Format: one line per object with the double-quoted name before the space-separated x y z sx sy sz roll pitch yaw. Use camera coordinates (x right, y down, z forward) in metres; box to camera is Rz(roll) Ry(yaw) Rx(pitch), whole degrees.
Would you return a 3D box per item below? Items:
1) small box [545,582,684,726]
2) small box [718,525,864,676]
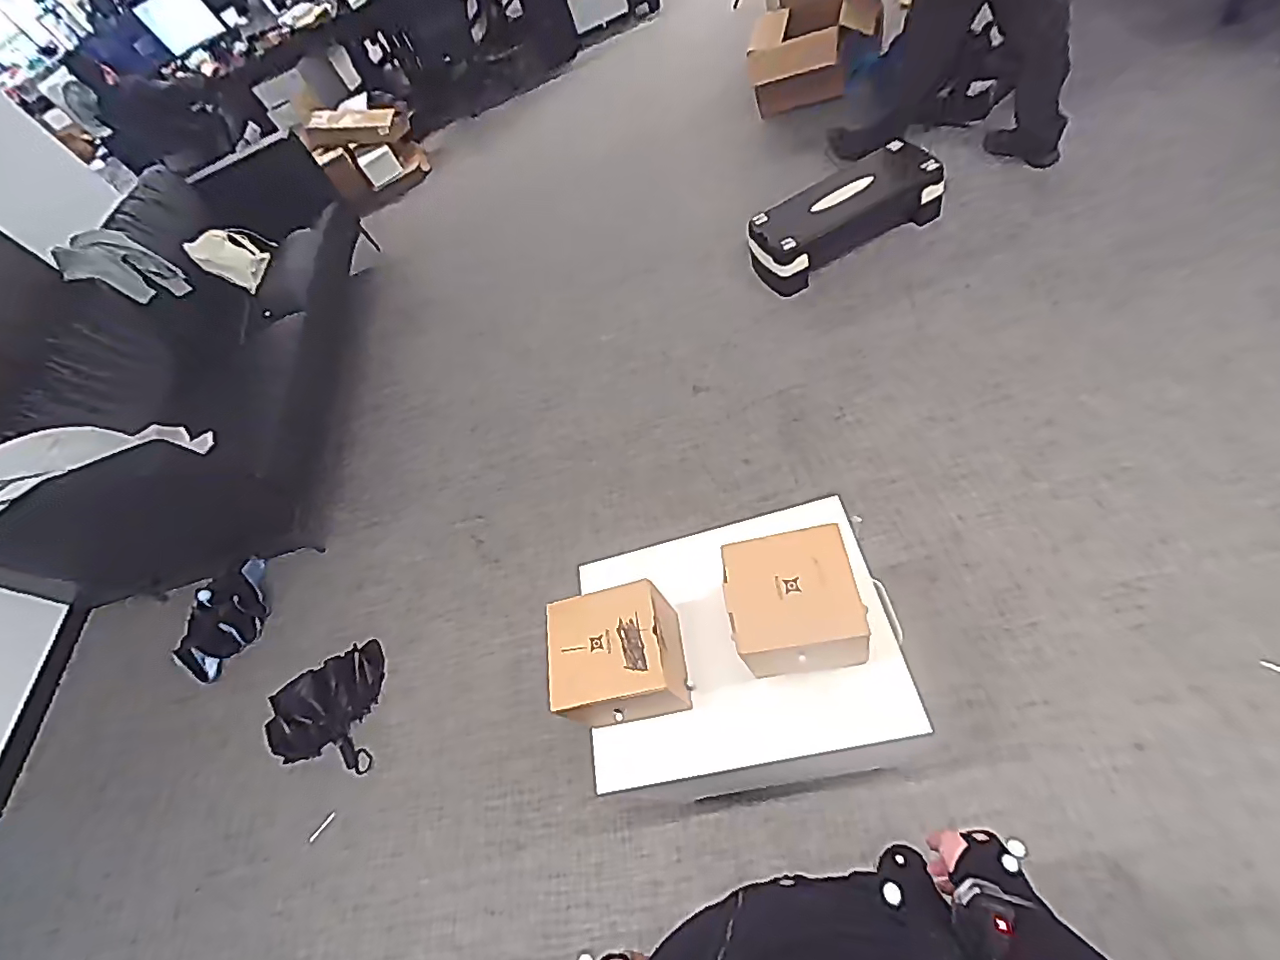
"small box" -0.035 0.283 0.862 0.179 0.176 0.168 -16 55 11
"small box" 0.229 0.191 0.821 0.179 0.176 0.168 -13 57 13
